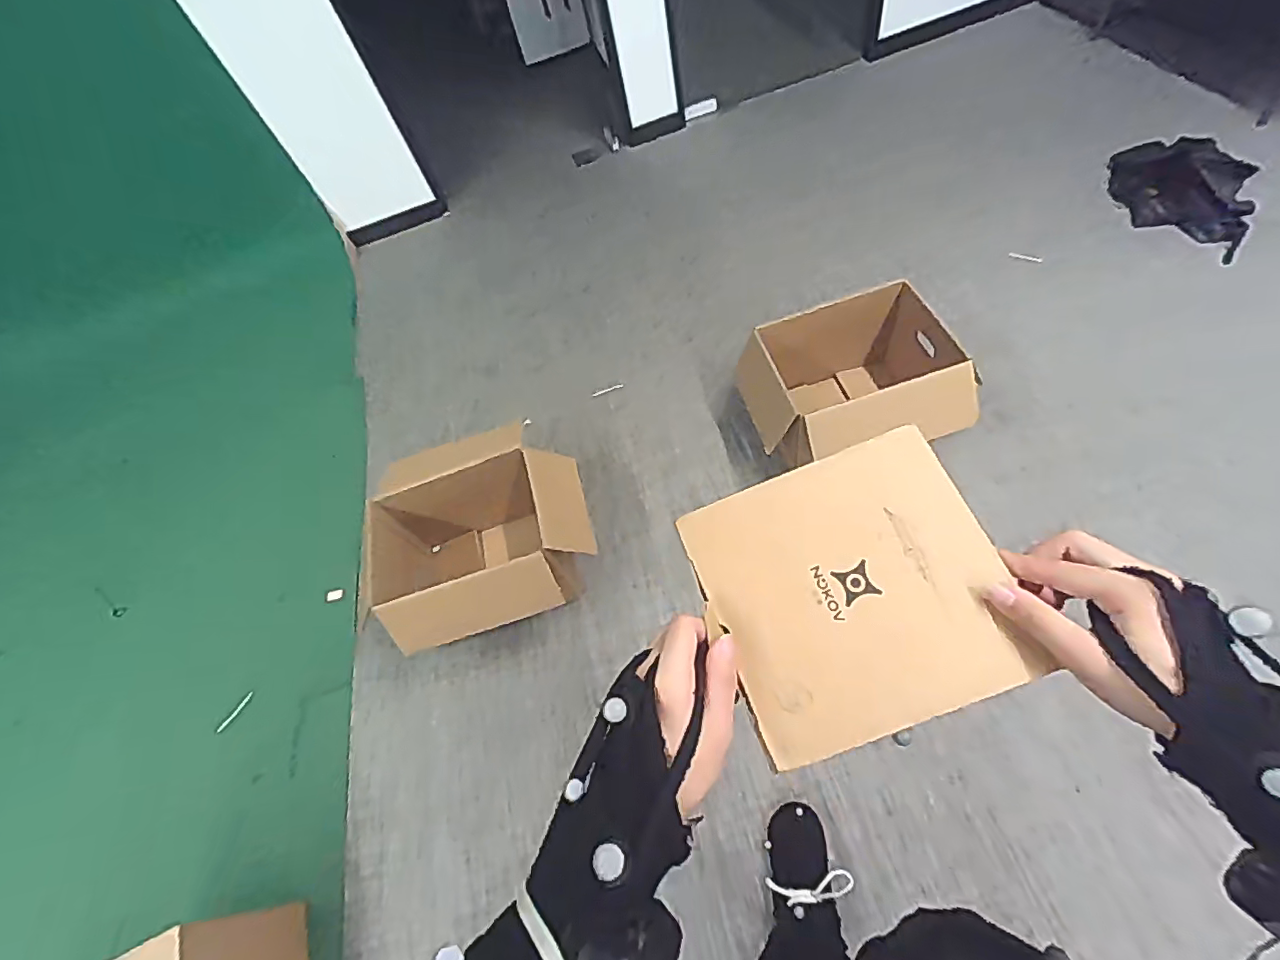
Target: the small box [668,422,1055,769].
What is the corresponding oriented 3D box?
[{"bbox_3d":[0.138,0.090,0.403,0.179,0.176,0.168,-22,69,1],"label":"small box"}]
